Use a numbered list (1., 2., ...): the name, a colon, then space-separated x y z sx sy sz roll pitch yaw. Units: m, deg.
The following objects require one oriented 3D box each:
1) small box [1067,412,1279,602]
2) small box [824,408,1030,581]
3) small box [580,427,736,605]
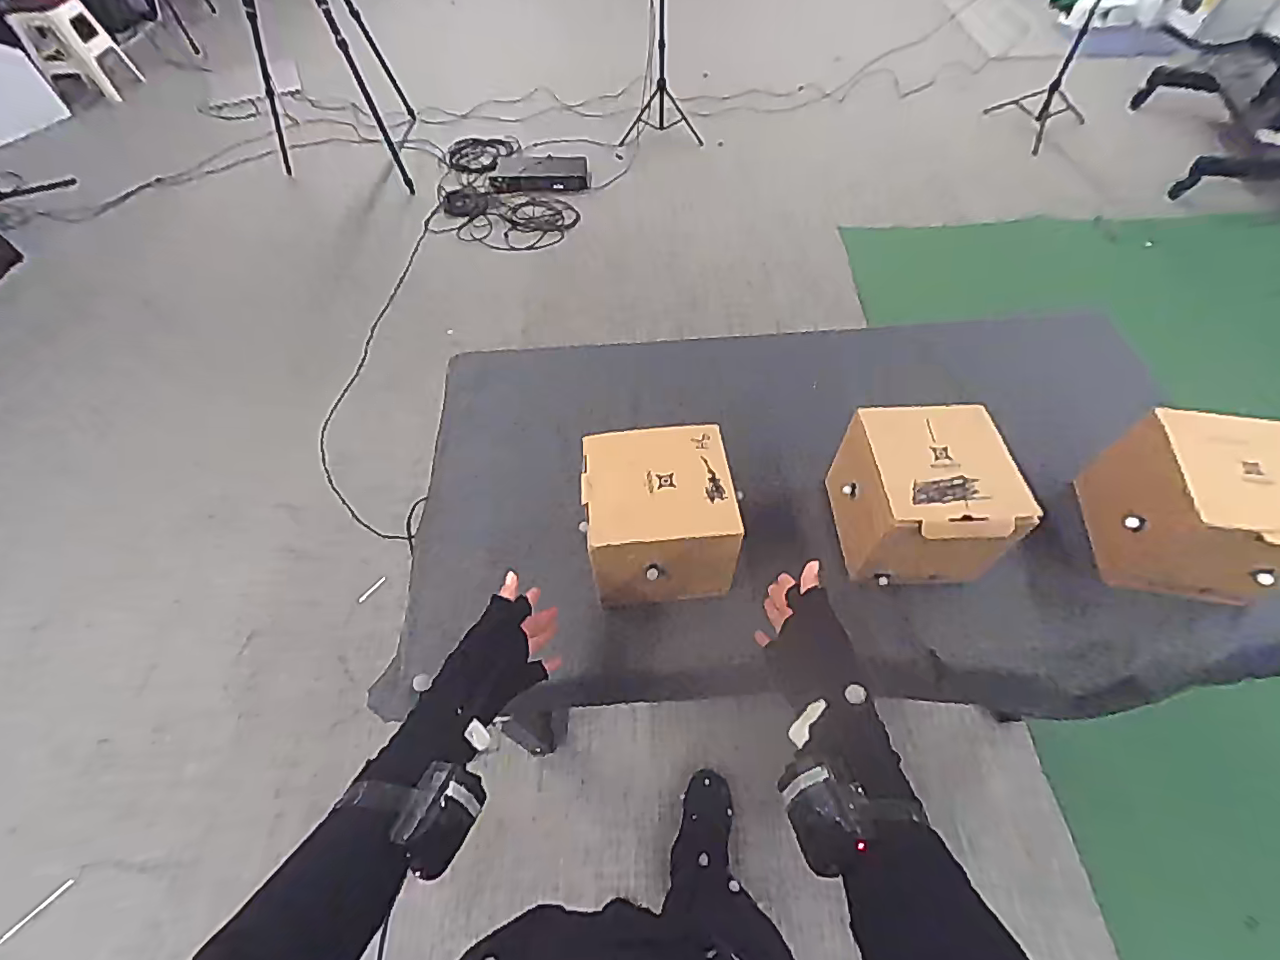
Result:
1. small box: 0.706 0.040 0.699 0.168 0.176 0.179 9 55 7
2. small box: 0.359 0.026 0.719 0.168 0.176 0.179 -1 55 1
3. small box: 0.020 0.053 0.710 0.179 0.176 0.168 -5 54 -2
